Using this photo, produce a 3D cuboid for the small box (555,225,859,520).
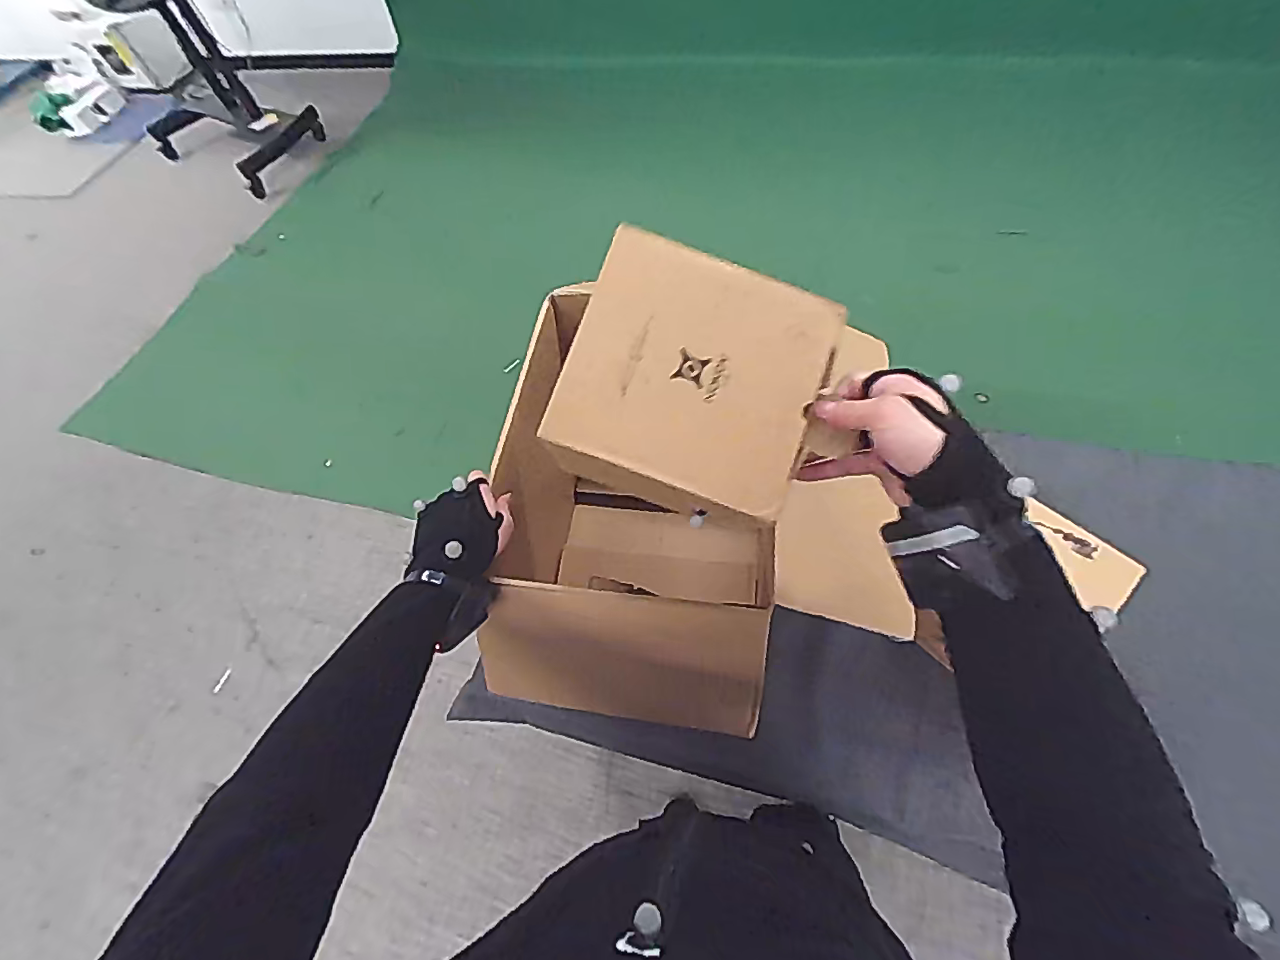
[{"bbox_3d":[0.046,-0.071,0.458,0.179,0.176,0.168,20,83,0],"label":"small box"}]
